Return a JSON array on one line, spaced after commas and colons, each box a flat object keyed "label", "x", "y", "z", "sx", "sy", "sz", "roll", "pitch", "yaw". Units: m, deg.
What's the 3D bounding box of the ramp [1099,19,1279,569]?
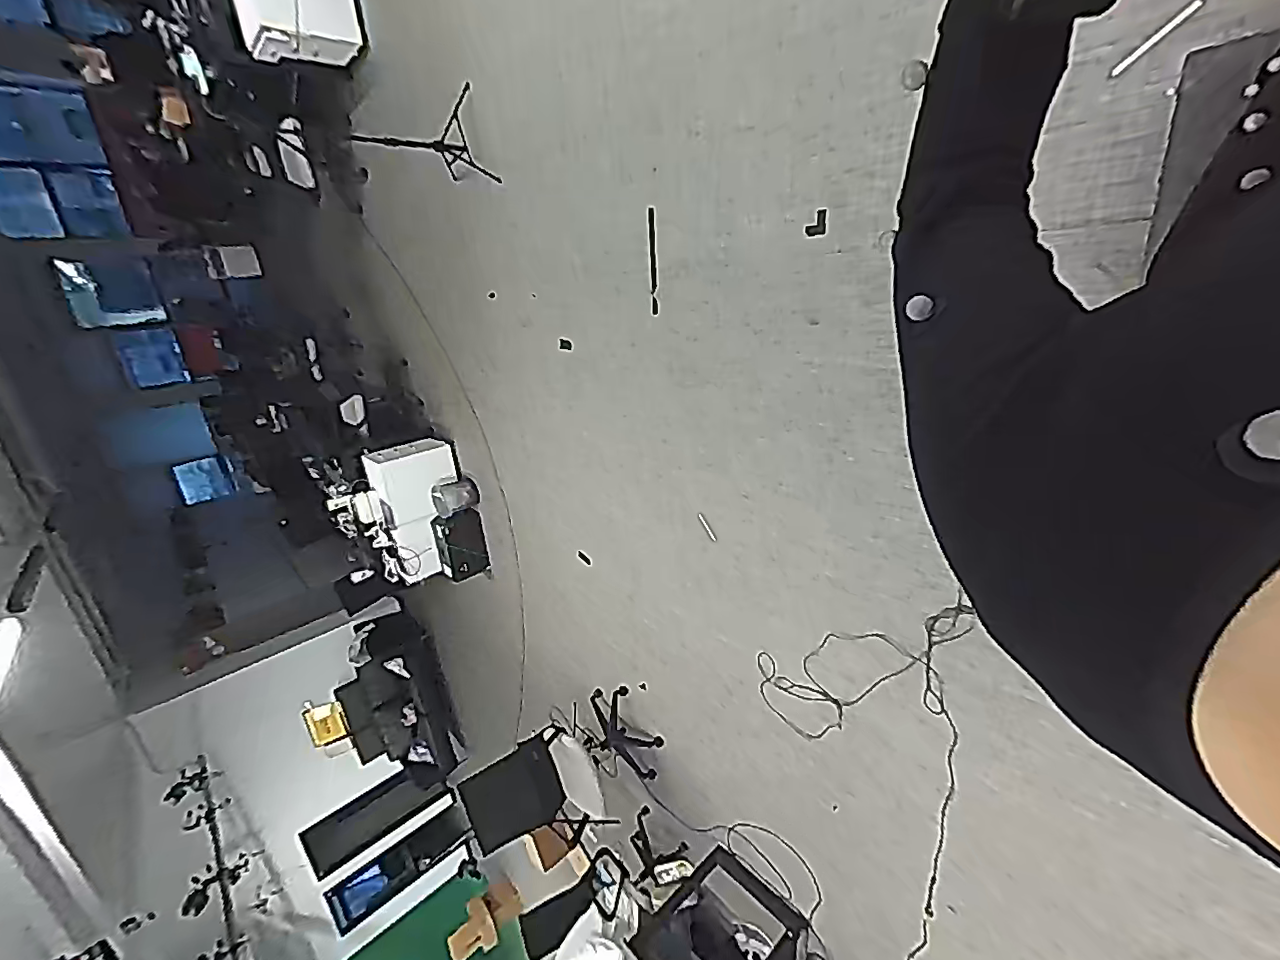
[{"label": "ramp", "x": 1.201, "y": -0.255, "z": 0.952, "sx": 0.509, "sy": 0.206, "sz": 0.991, "roll": 15, "pitch": 119, "yaw": 46}]
